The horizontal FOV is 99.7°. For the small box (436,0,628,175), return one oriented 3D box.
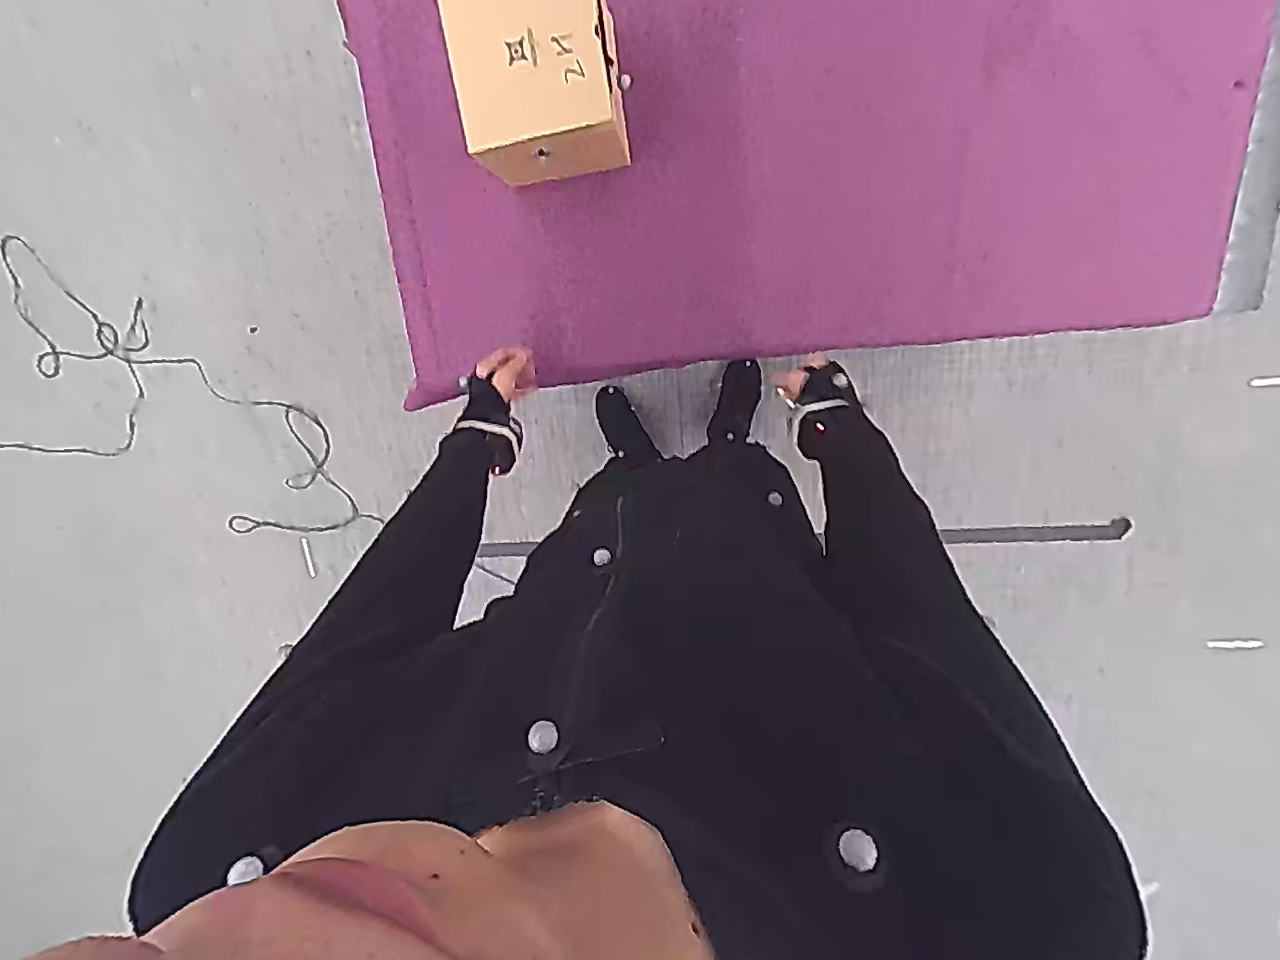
[{"bbox_3d":[-0.117,-0.488,0.654,0.179,0.176,0.168,-7,107,6],"label":"small box"}]
